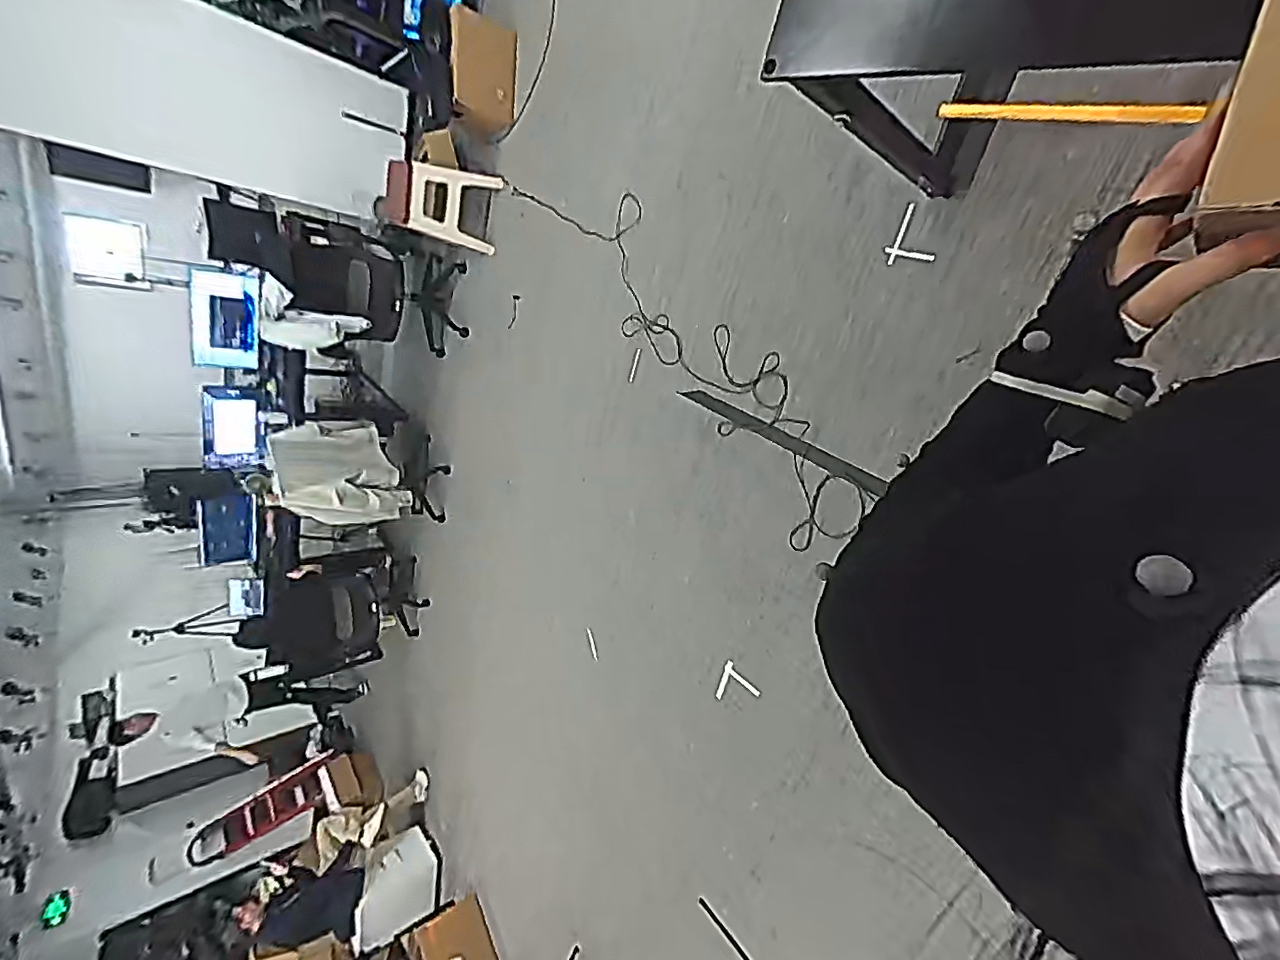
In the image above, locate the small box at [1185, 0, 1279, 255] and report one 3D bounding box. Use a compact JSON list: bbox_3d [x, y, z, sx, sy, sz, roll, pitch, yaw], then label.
[{"bbox_3d":[0.436,-0.222,0.286,0.168,0.176,0.179,21,111,44],"label":"small box"}]
